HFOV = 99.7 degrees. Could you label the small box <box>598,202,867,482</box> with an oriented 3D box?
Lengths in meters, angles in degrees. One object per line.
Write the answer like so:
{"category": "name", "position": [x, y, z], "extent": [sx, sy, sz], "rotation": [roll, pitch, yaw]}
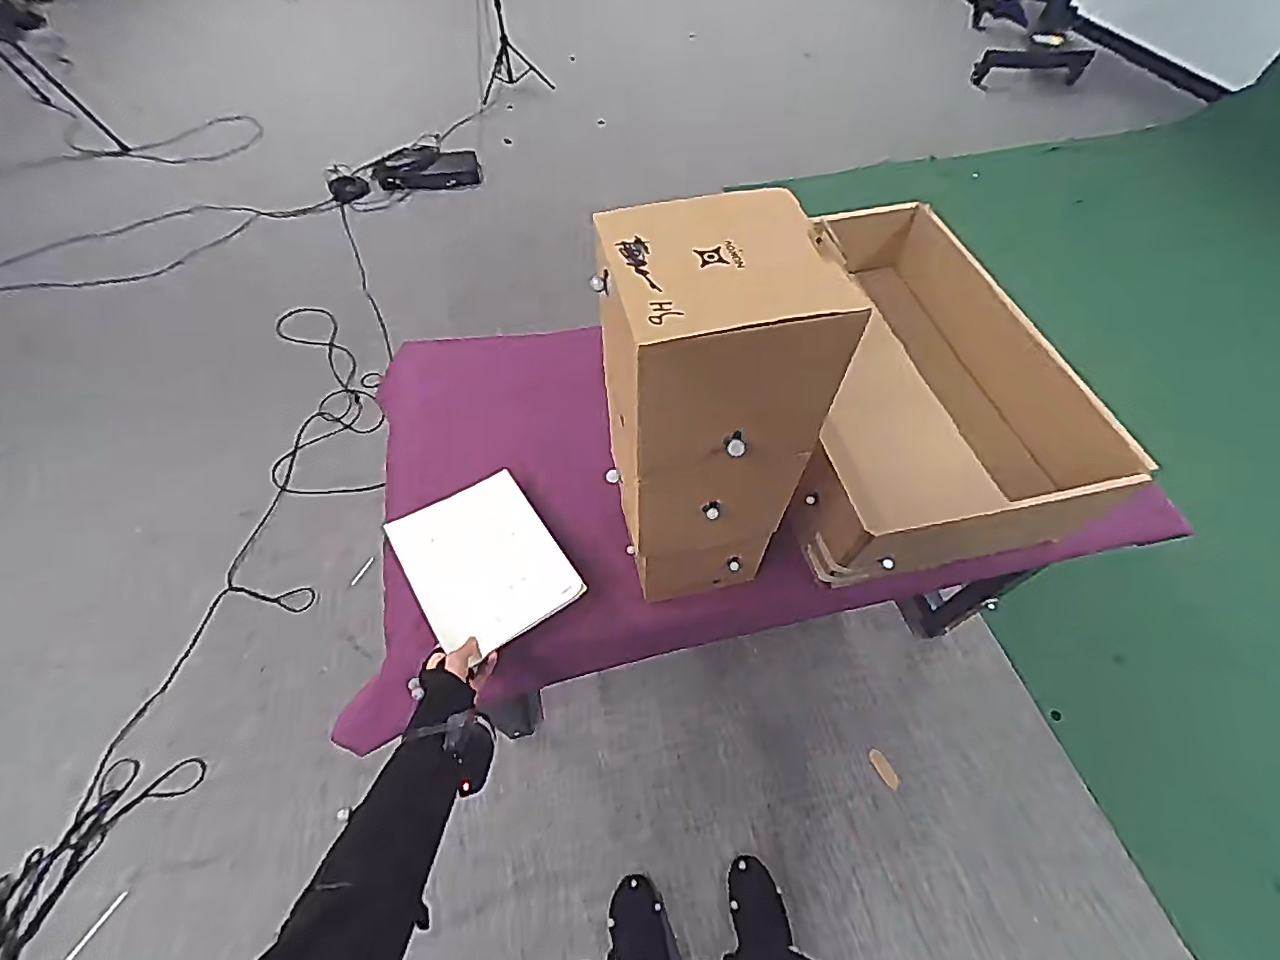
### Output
{"category": "small box", "position": [0.062, -0.119, 0.486], "extent": [0.179, 0.176, 0.168], "rotation": [-10, 55, -8]}

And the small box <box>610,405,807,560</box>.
{"category": "small box", "position": [0.063, -0.026, 0.623], "extent": [0.179, 0.176, 0.168], "rotation": [-11, 56, -6]}
